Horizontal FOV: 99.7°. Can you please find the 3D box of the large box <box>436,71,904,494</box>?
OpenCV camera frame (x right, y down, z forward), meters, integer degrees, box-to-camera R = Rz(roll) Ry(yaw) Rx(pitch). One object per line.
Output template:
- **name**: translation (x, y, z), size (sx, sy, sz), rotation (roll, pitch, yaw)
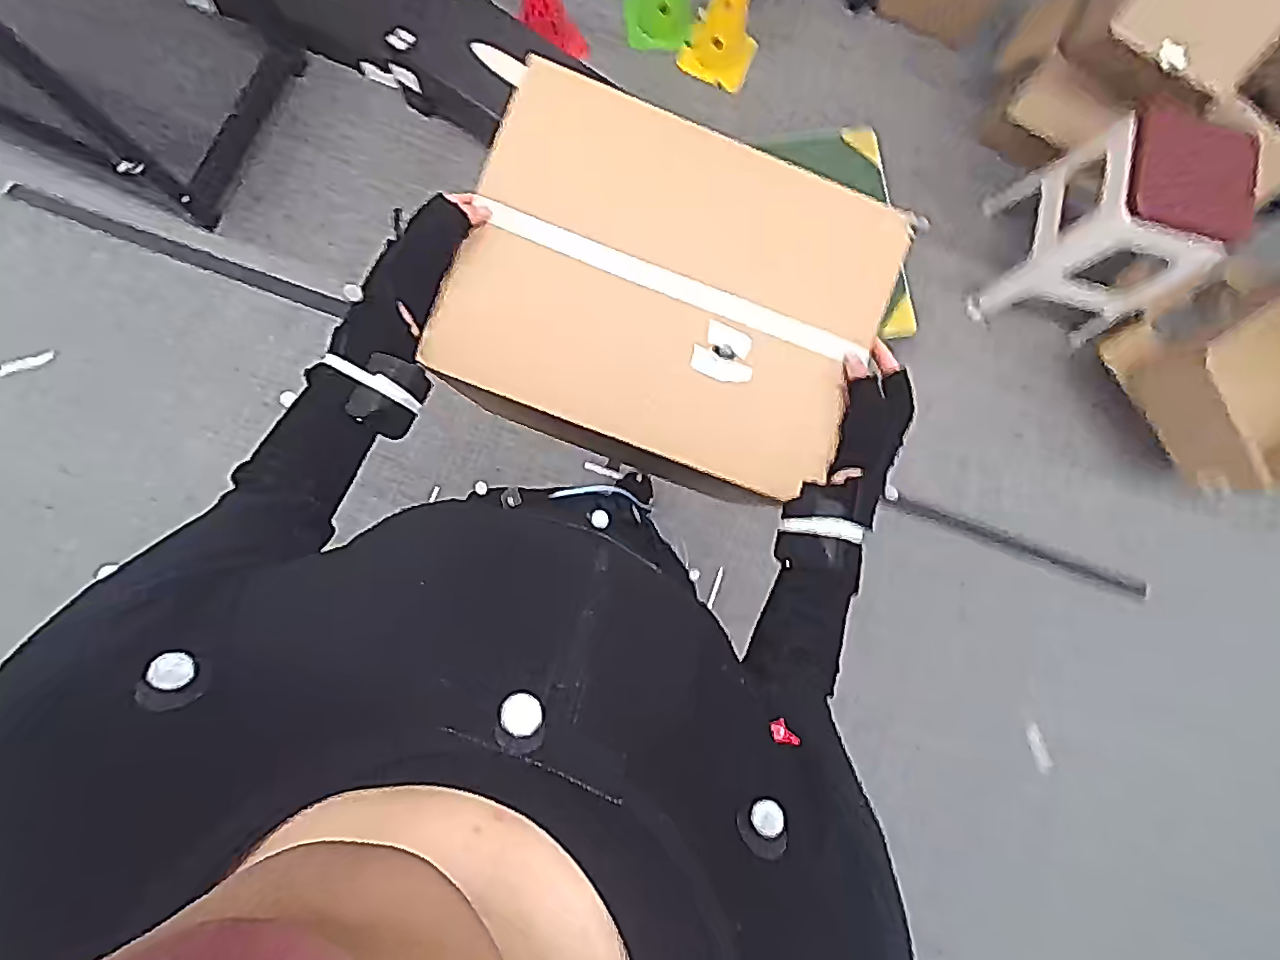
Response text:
- **large box**: translation (0.023, -0.189, 0.681), size (0.408, 0.320, 0.320), rotation (20, 88, -5)
